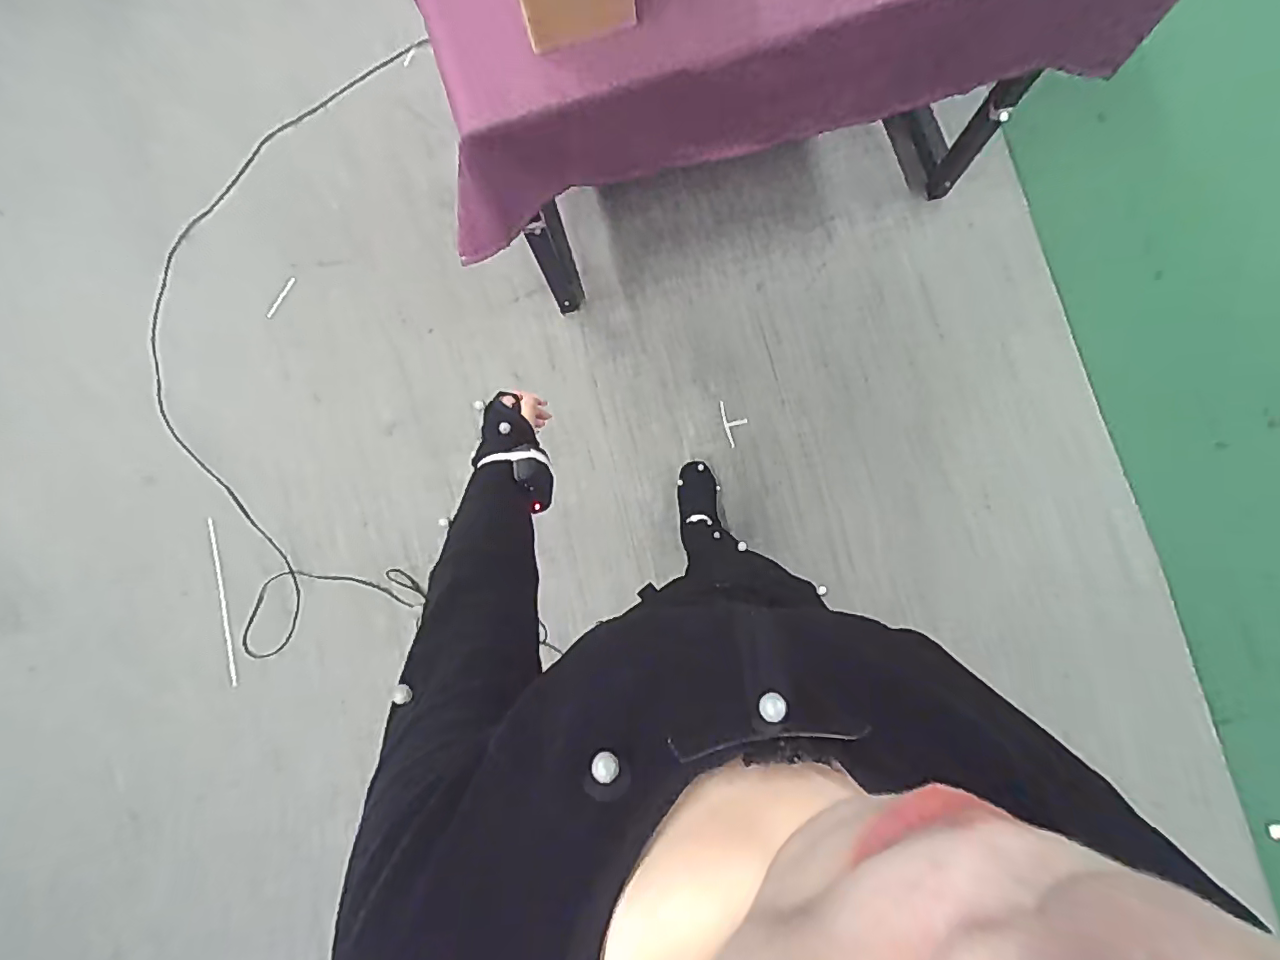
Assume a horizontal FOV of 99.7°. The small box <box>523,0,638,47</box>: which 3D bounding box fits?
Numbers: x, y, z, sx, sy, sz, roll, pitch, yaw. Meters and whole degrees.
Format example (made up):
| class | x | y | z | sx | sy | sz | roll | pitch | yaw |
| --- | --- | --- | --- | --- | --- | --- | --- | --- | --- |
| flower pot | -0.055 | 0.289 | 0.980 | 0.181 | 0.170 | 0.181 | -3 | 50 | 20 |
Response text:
| class | x | y | z | sx | sy | sz | roll | pitch | yaw |
| --- | --- | --- | --- | --- | --- | --- | --- | --- | --- |
| small box | -0.109 | -0.805 | 0.813 | 0.179 | 0.176 | 0.168 | -15 | 82 | 1 |
